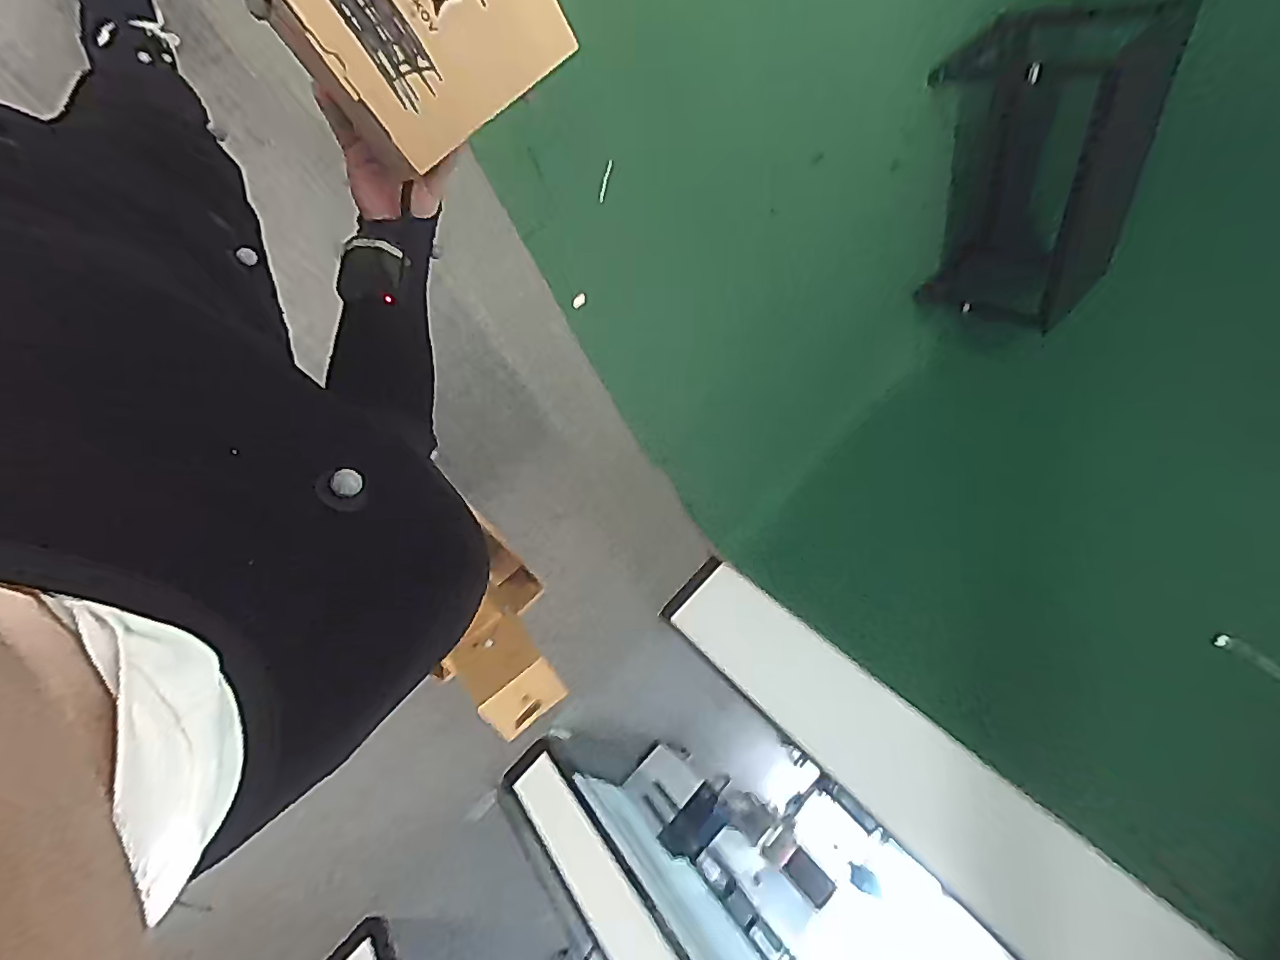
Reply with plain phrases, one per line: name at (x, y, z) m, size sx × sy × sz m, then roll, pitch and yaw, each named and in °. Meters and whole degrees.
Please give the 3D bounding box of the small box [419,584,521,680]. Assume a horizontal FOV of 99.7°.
small box at (-0.406, 0.387, 1.332) m, size 0.168 × 0.176 × 0.179 m, roll -43°, pitch 136°, yaw -12°

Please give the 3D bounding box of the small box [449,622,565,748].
small box at (-0.302, 0.458, 1.227) m, size 0.168 × 0.176 × 0.179 m, roll -36°, pitch 134°, yaw -19°
